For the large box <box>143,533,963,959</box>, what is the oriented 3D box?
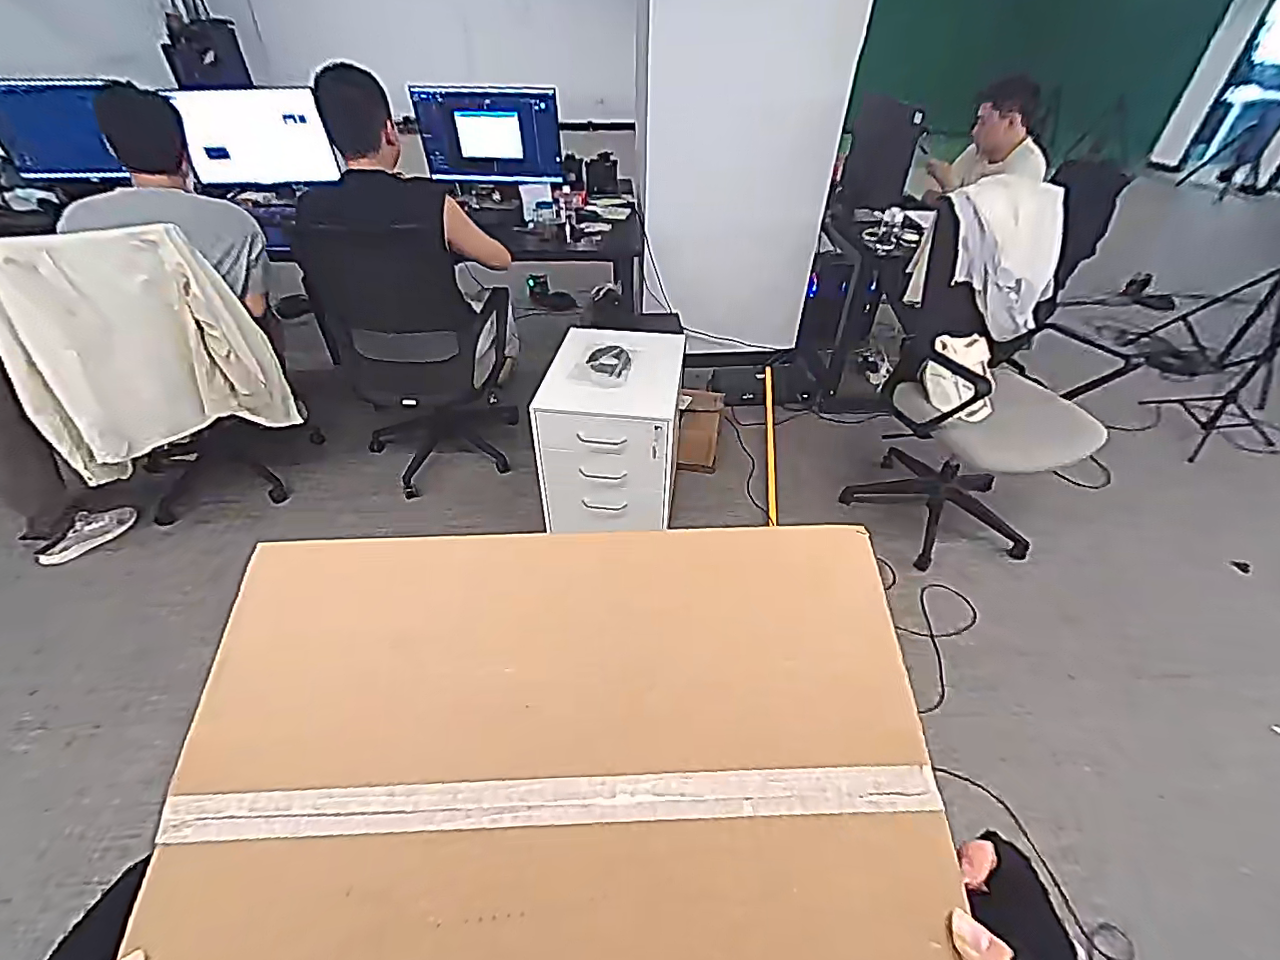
[{"bbox_3d":[-0.045,0.252,0.423,0.408,0.320,0.320,-2,60,-1],"label":"large box"}]
